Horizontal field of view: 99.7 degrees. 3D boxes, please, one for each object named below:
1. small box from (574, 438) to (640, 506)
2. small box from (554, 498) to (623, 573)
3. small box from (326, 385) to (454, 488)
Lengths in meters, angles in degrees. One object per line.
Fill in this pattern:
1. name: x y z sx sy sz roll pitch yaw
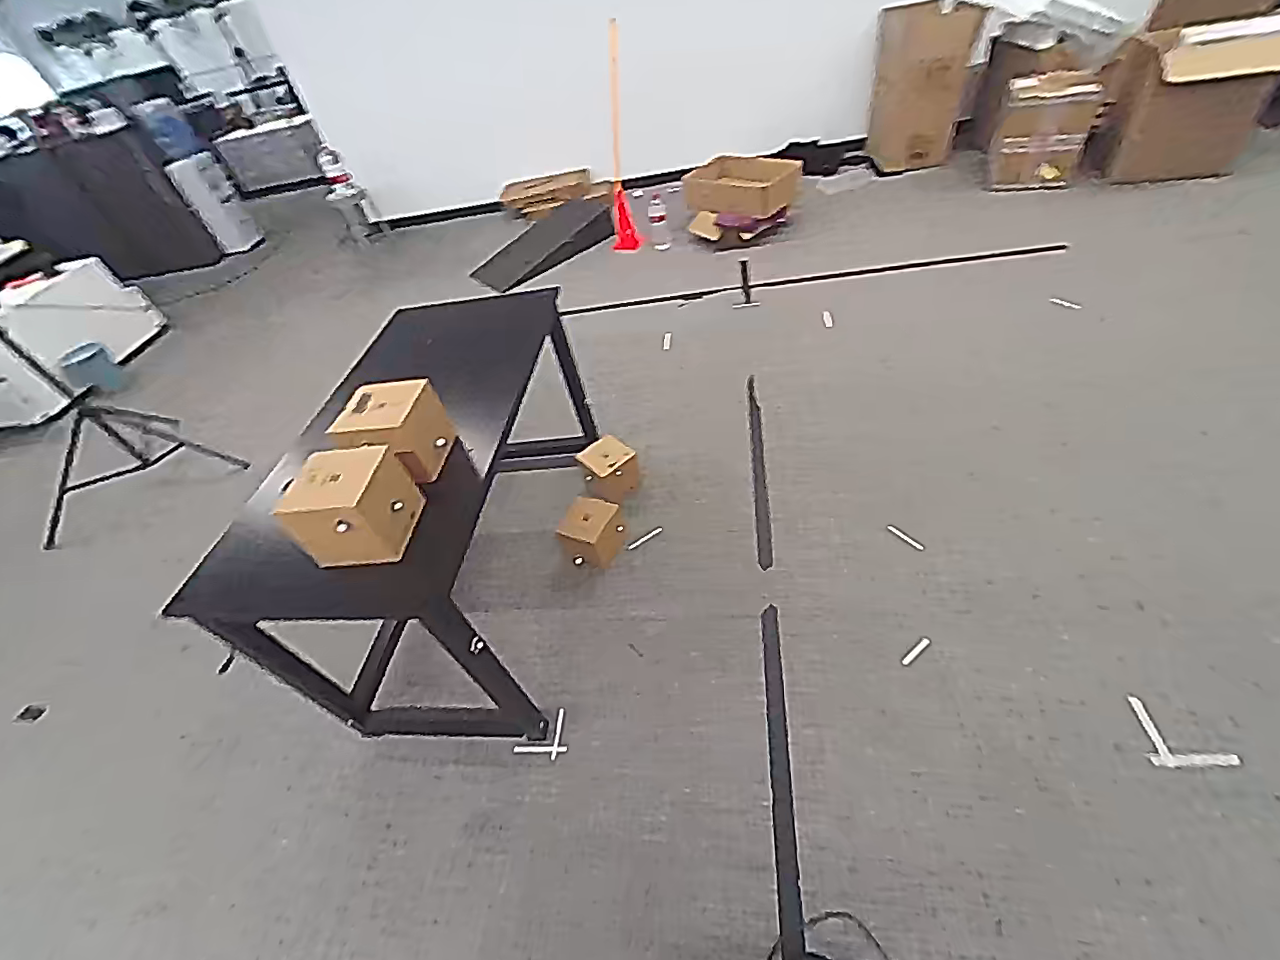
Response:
1. small box: -0.125 -0.028 2.092 0.168 0.176 0.179 -38 50 -21
2. small box: -0.172 0.195 1.892 0.168 0.176 0.179 12 52 25
3. small box: -0.560 -0.095 1.238 0.179 0.176 0.168 -4 46 10
